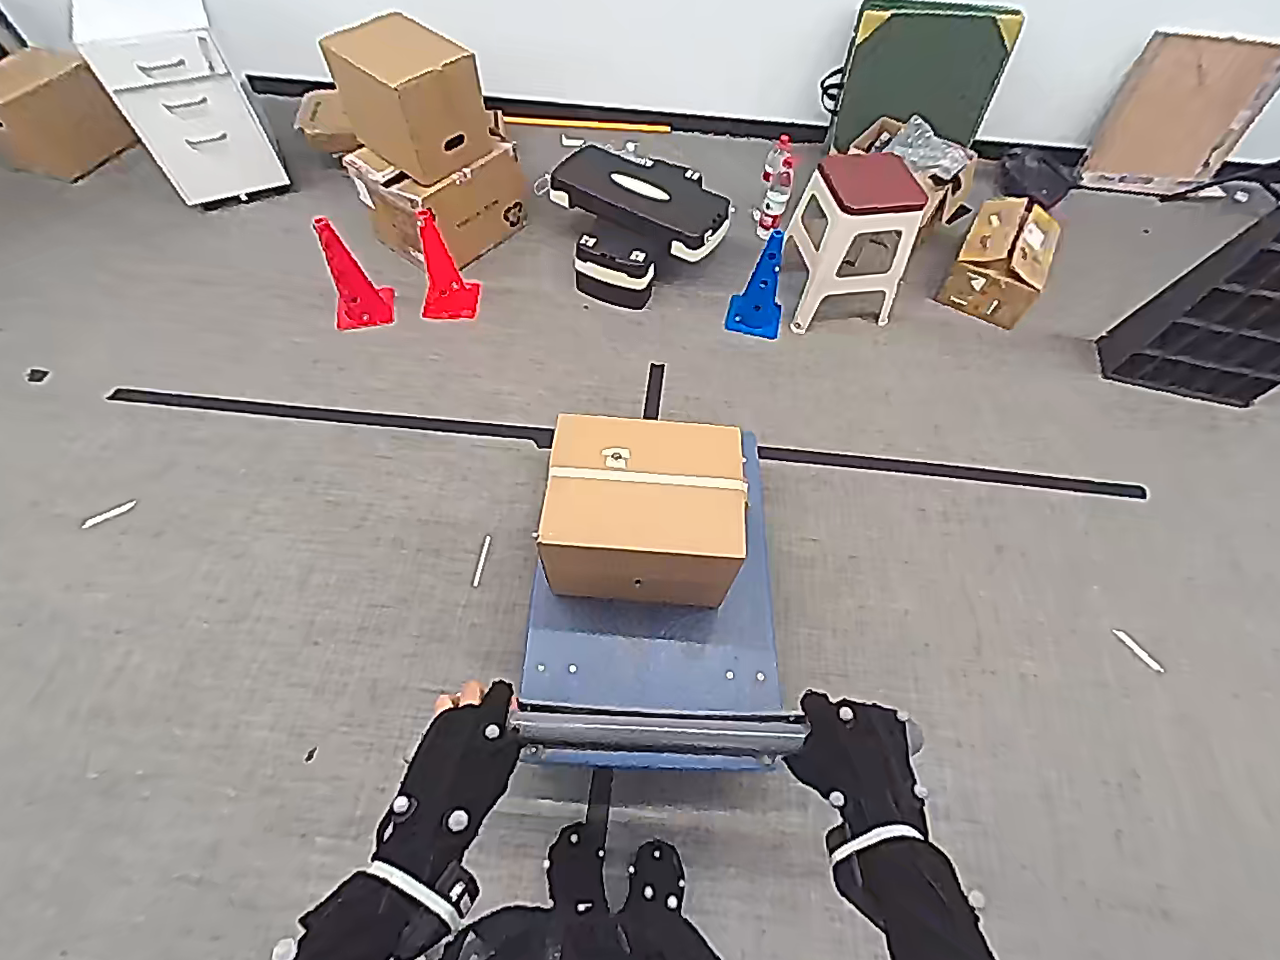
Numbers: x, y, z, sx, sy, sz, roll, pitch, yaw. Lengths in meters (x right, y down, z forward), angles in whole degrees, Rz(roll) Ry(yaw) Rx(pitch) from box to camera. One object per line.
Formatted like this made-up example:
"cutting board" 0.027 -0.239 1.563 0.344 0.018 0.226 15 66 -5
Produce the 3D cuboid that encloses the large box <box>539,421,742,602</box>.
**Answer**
"large box" 0.006 0.084 1.255 0.408 0.320 0.320 4 60 1
